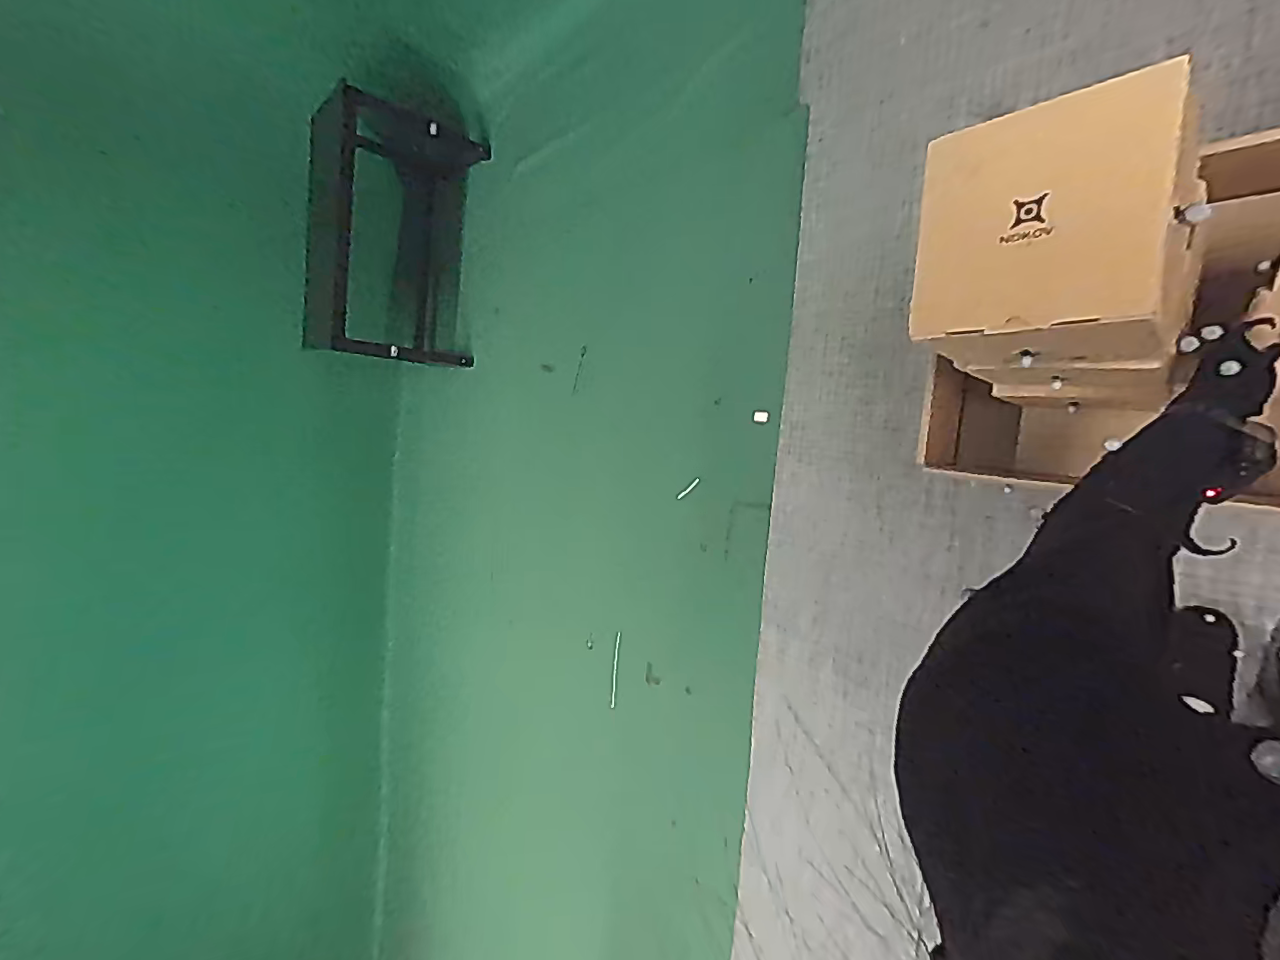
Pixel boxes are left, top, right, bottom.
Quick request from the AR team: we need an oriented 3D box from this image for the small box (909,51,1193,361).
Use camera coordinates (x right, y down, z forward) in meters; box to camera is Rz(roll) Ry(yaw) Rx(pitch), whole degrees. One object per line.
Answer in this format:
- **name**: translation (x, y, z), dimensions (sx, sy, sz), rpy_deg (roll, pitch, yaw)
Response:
- **small box**: translation (0.363, -0.211, 0.479), dimensions (0.168, 0.176, 0.179), rpy_deg (8, 96, 47)

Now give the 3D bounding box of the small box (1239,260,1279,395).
- **small box**: translation (0.738, -0.174, 0.526), dimensions (0.179, 0.176, 0.168), rpy_deg (19, 96, 45)
